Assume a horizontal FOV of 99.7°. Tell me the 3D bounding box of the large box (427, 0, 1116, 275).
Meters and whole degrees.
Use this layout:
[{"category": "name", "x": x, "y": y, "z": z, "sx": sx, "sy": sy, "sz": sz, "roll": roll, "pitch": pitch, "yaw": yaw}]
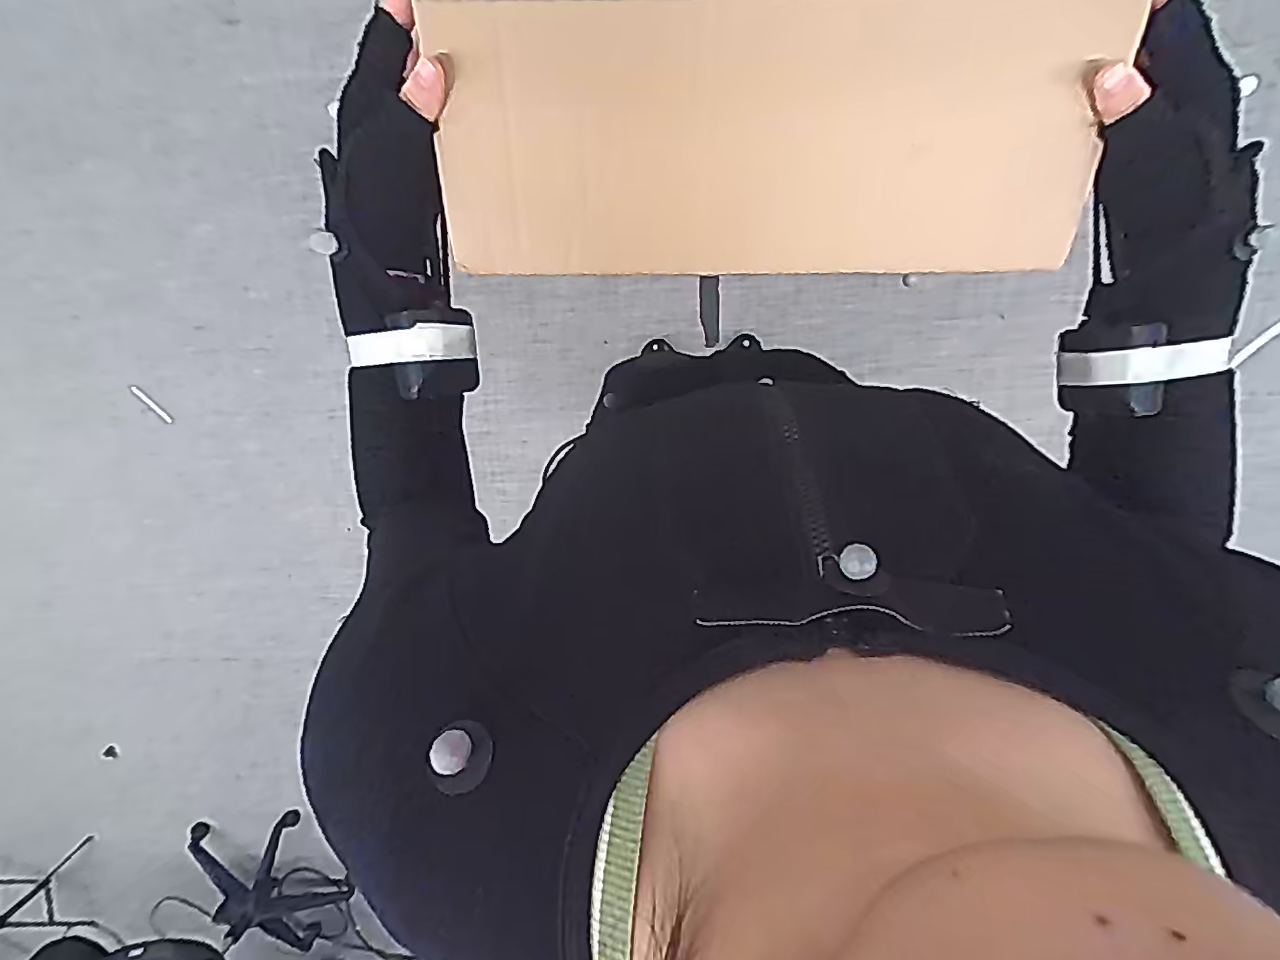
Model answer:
[{"category": "large box", "x": 0.078, "y": -0.354, "z": 0.436, "sx": 0.408, "sy": 0.320, "sz": 0.320, "roll": 0, "pitch": 117, "yaw": 1}]
